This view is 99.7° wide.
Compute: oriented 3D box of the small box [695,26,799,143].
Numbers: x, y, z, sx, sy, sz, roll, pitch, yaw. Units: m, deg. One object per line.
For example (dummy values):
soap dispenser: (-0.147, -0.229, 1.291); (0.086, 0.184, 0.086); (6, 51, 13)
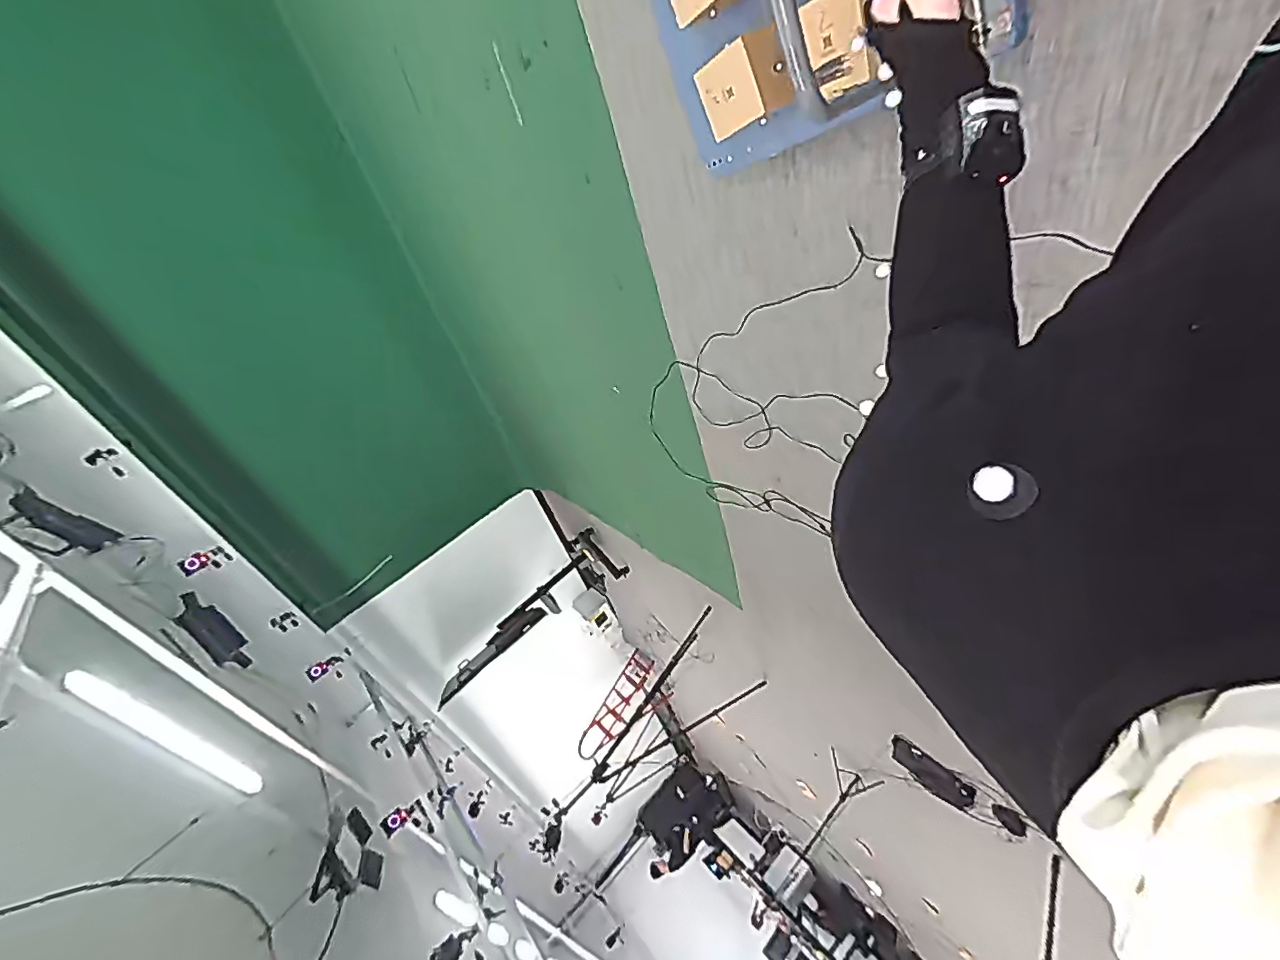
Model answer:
small box: (0.278, -0.998, 1.368); (0.179, 0.176, 0.168); (9, 132, 56)

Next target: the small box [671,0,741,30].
small box: (0.173, -1.204, 1.257); (0.179, 0.176, 0.168); (11, 135, 54)
